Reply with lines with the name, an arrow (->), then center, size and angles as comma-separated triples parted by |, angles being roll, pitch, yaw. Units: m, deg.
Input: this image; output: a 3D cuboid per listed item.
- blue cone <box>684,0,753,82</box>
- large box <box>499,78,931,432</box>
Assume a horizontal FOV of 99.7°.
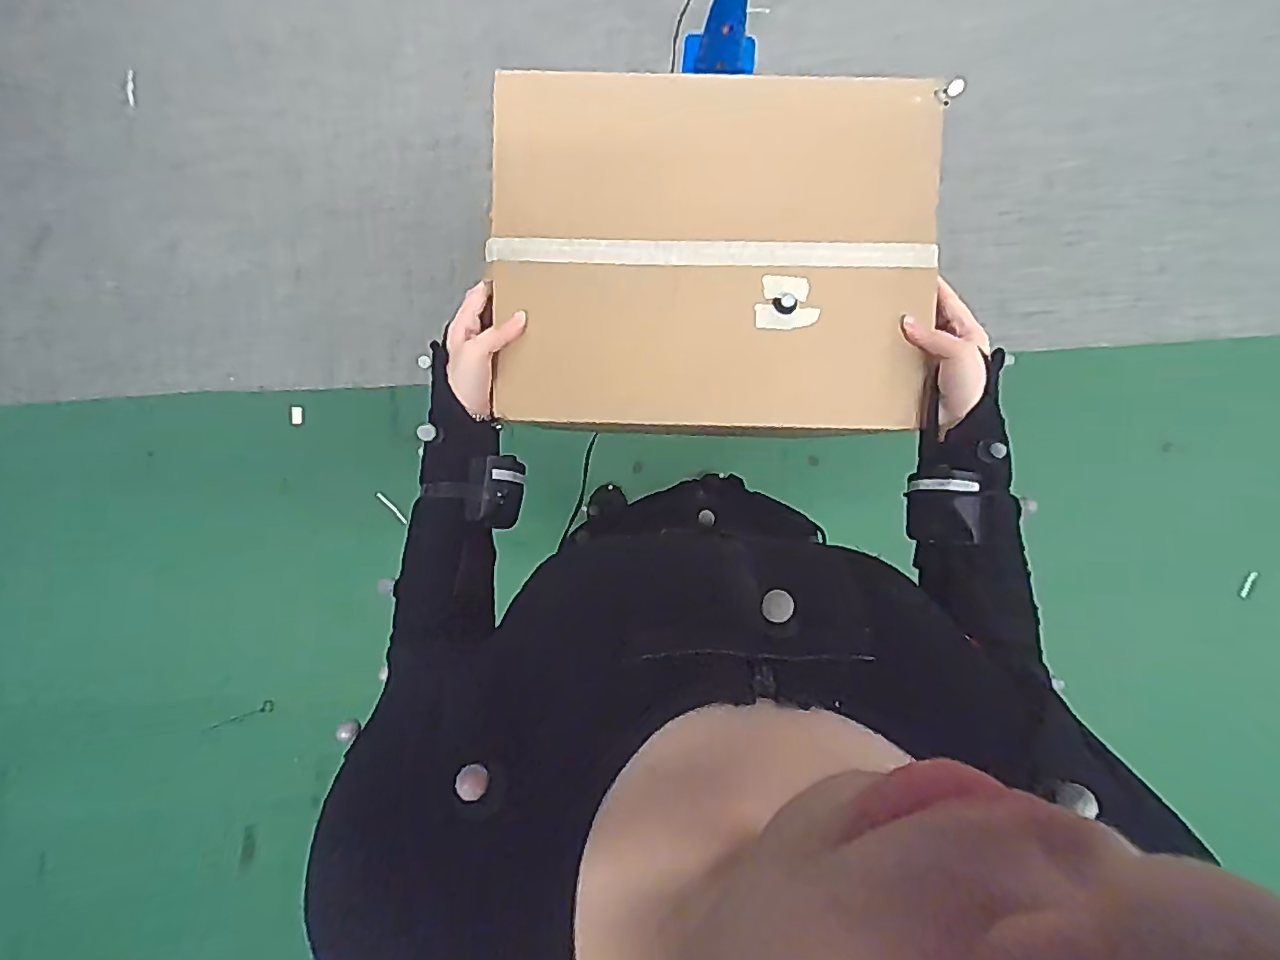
blue cone -> 0.219, -1.138, 1.354 | 0.193, 0.380, 0.192 | 5, 90, 0
large box -> 0.066, -0.220, 0.649 | 0.408, 0.320, 0.320 | 1, 94, -1
